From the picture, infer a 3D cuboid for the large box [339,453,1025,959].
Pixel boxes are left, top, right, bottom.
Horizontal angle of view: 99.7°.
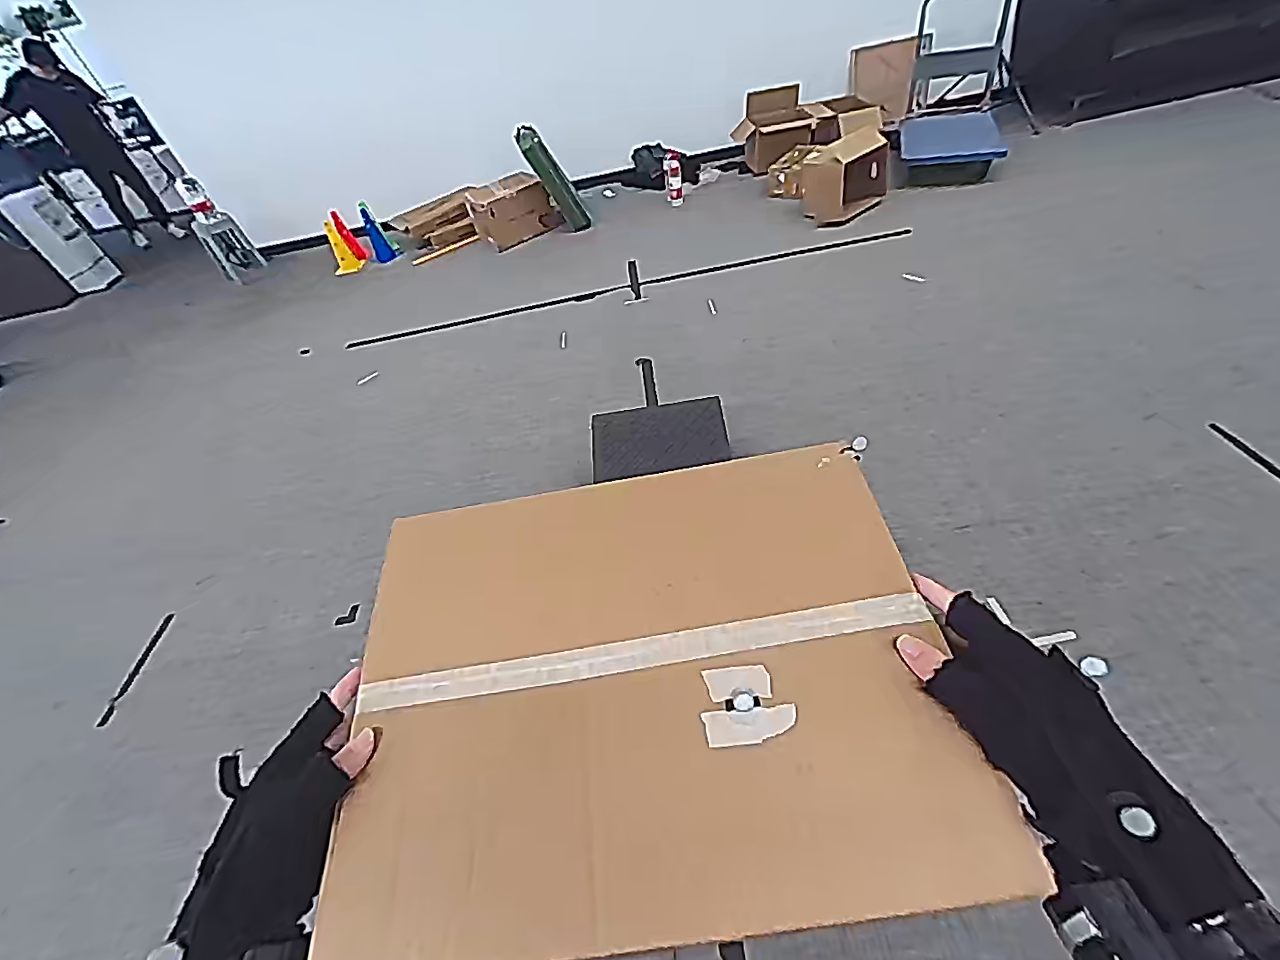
[{"bbox_3d":[0.021,0.218,0.511,0.408,0.320,0.320,-10,53,2],"label":"large box"}]
